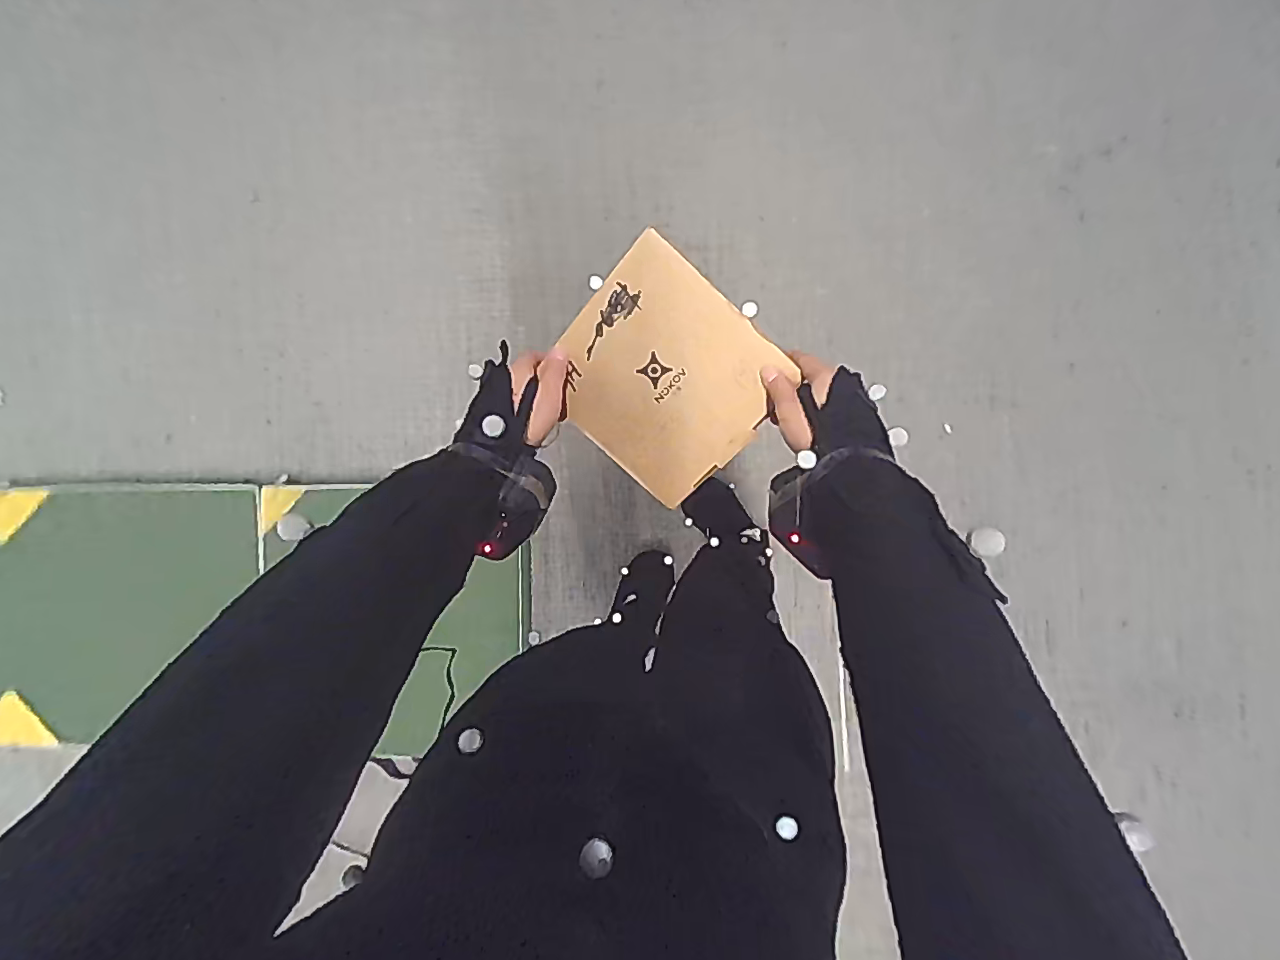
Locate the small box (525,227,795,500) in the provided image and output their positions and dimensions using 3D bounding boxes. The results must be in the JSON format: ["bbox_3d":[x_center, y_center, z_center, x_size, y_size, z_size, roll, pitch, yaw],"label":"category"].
[{"bbox_3d":[0.025,-0.117,0.533,0.179,0.176,0.168,41,109,-6],"label":"small box"}]
